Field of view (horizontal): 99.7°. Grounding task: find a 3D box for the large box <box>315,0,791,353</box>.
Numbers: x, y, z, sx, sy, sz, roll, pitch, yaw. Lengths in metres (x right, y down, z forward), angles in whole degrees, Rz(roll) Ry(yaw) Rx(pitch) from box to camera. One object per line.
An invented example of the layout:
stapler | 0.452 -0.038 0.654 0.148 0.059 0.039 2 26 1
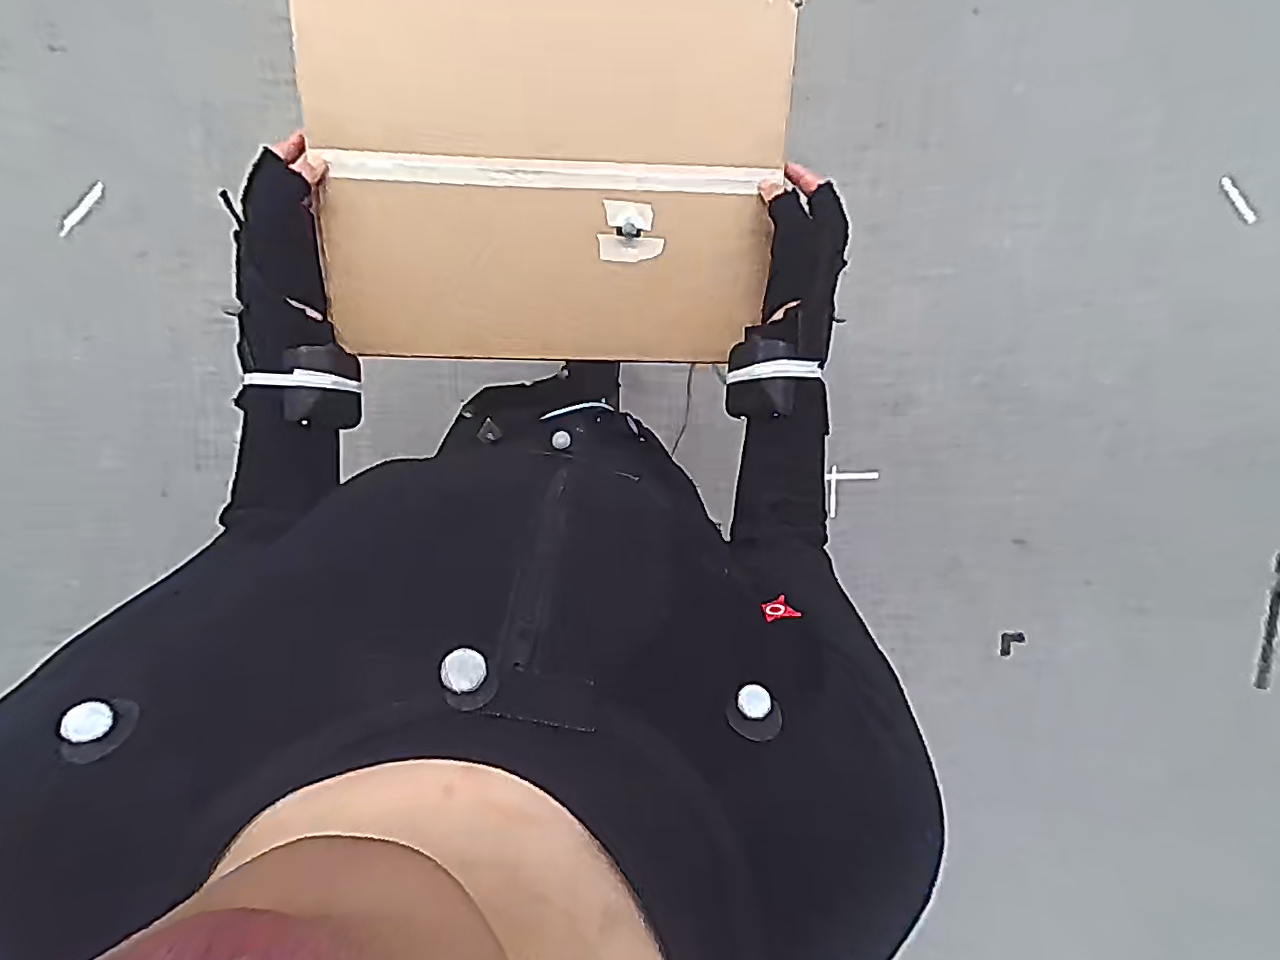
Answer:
large box | -0.083 -0.314 0.628 0.408 0.320 0.320 1 106 -5
